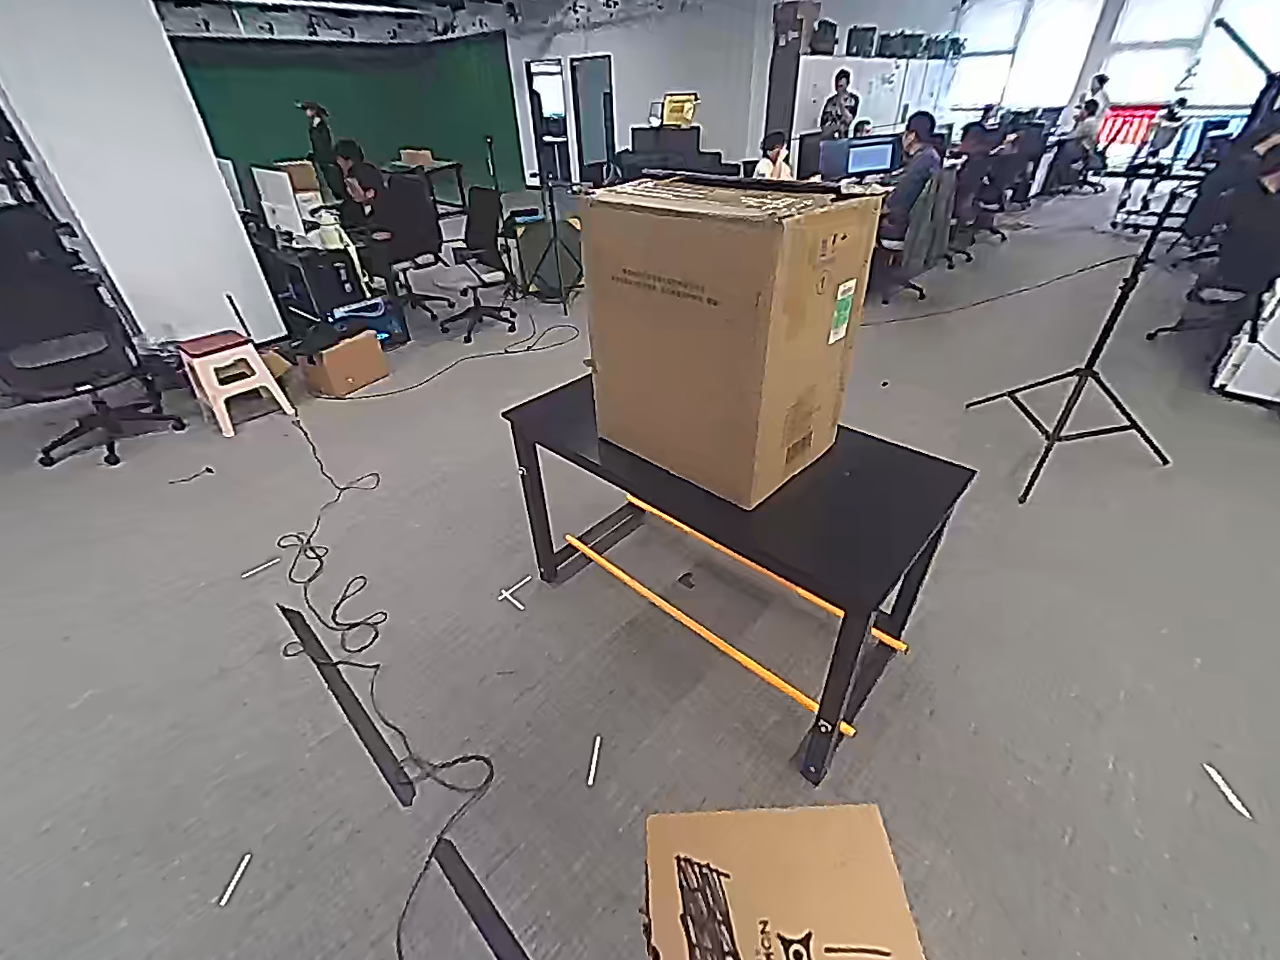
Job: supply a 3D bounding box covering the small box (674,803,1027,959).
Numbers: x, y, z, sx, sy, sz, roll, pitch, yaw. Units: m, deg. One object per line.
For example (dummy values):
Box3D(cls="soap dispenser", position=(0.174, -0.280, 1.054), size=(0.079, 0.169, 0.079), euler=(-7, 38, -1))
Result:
Box3D(cls="small box", position=(0.115, 0.314, 0.322), size=(0.179, 0.176, 0.168), euler=(-4, 43, 1))
